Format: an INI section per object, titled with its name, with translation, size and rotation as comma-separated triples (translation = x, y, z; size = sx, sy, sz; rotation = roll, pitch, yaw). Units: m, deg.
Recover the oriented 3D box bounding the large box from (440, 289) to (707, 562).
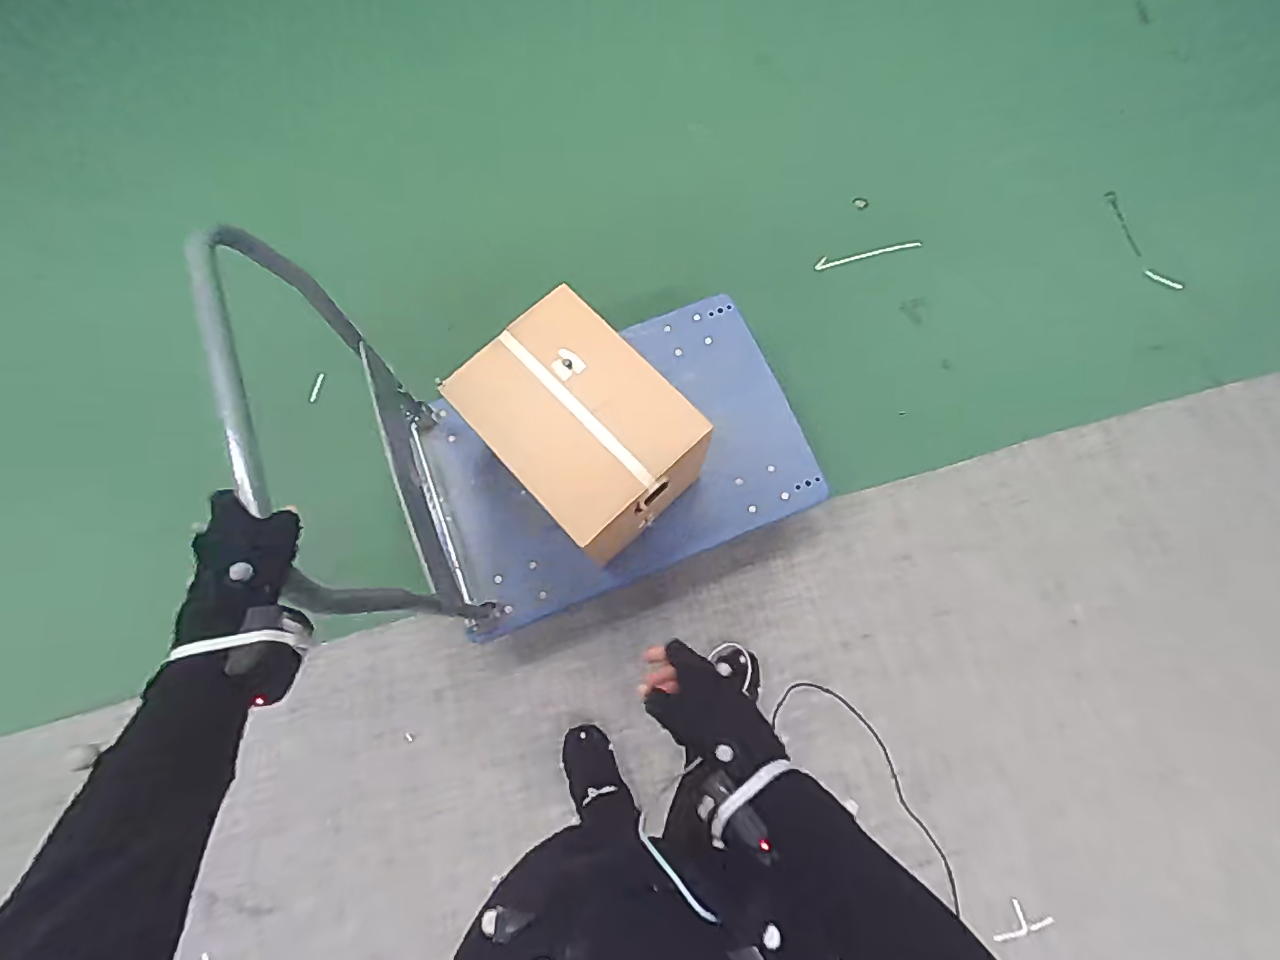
[large box]
translation = -0.114, -0.090, 1.108
size = 0.320, 0.320, 0.408
rotation = -42, 77, -8
